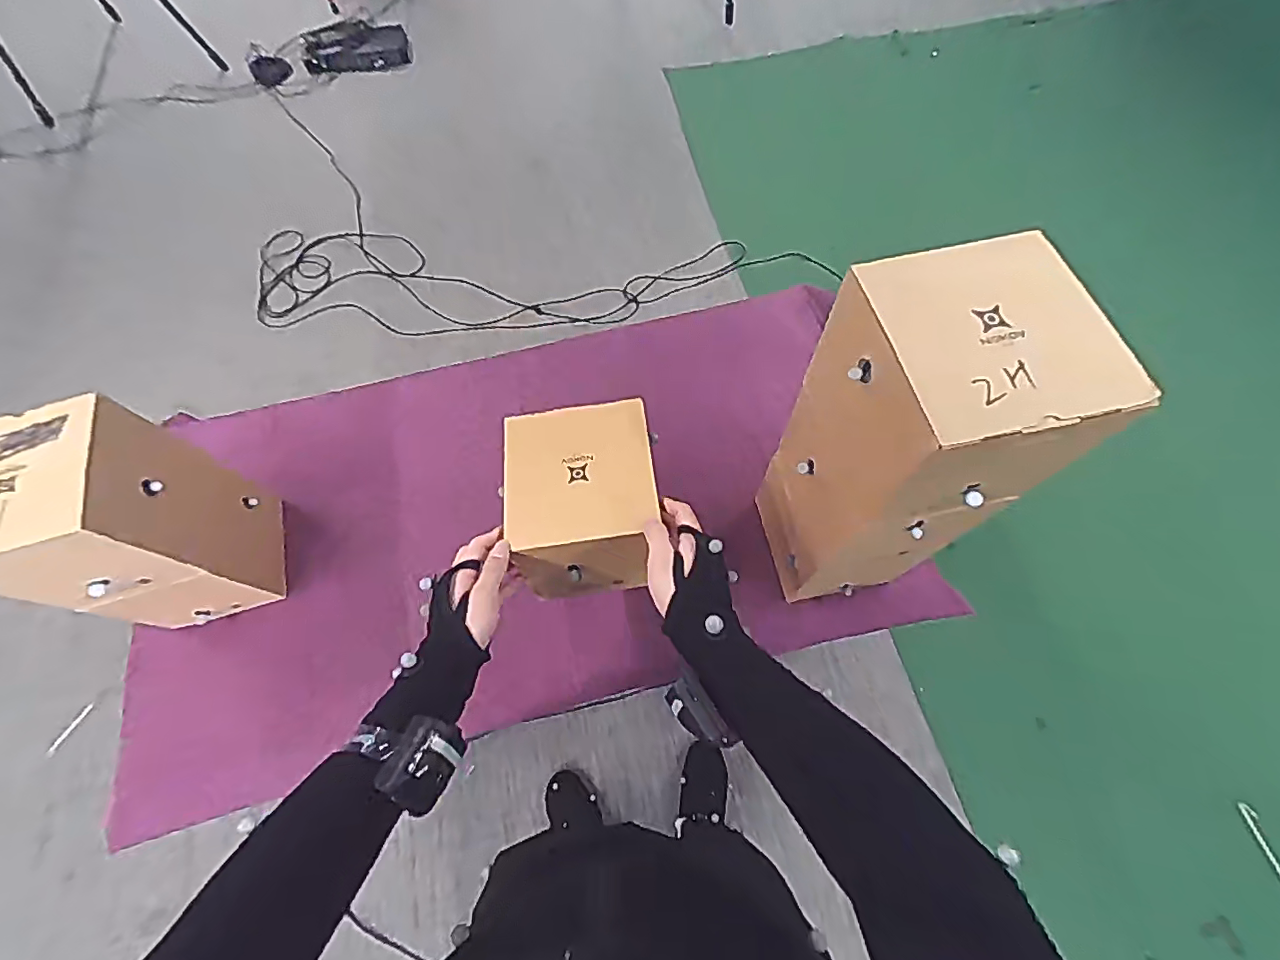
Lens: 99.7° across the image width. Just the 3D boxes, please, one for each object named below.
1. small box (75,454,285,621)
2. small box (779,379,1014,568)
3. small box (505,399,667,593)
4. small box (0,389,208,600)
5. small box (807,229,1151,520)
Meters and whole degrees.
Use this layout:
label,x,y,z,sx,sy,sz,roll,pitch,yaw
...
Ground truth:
label,x,y,z,sx,sy,sz,roll,pitch,yaw
small box,-0.654,0.091,0.793,0.168,0.176,0.179,-16,68,-5
small box,0.275,-0.014,0.632,0.168,0.176,0.179,-11,65,-2
small box,-0.061,0.029,0.663,0.168,0.176,0.179,-8,59,0
small box,-0.657,0.025,0.643,0.168,0.176,0.179,-17,68,-5
small box,0.267,-0.084,0.483,0.168,0.176,0.179,-11,67,-2
